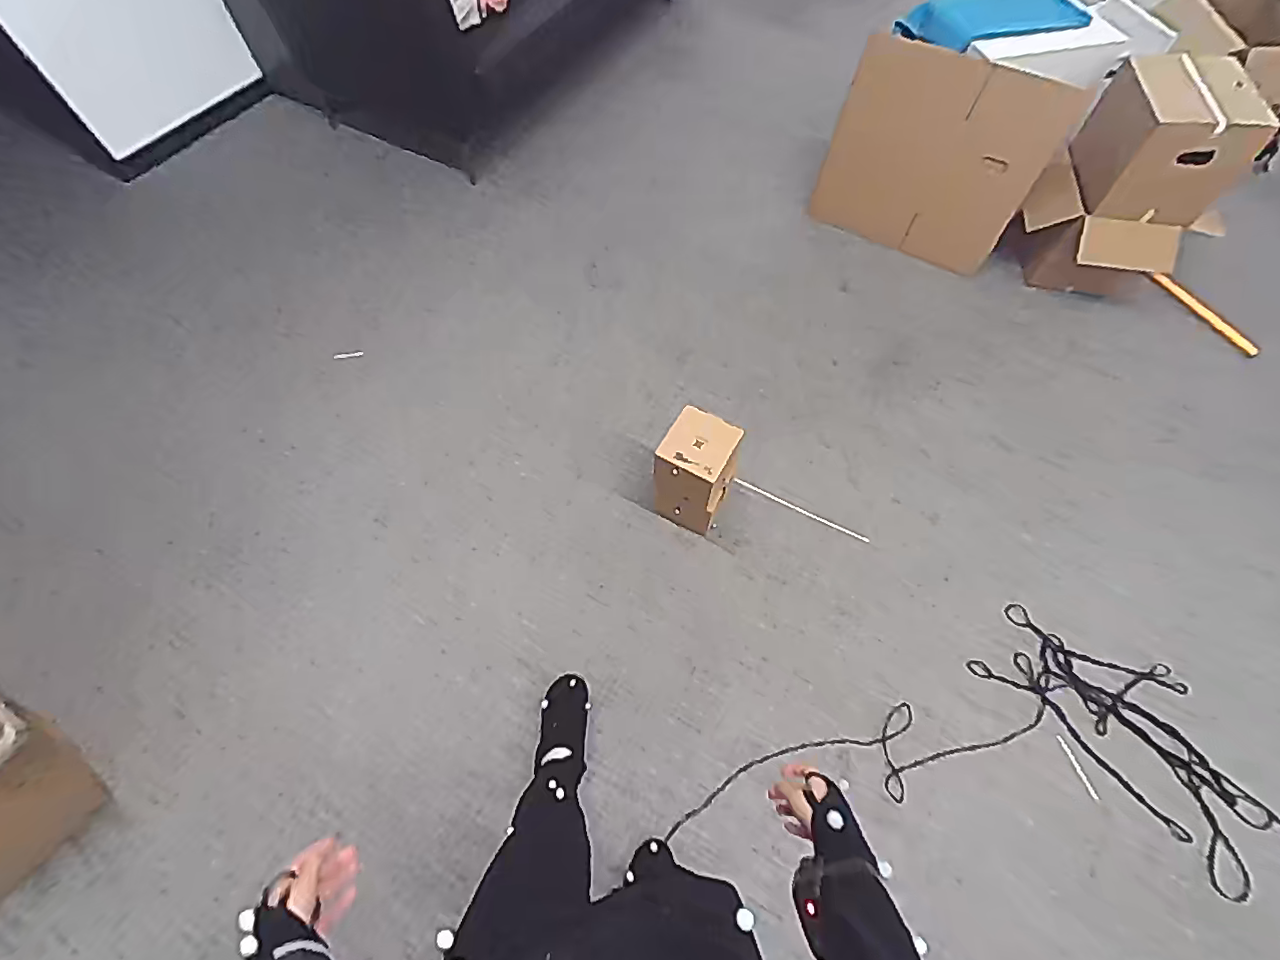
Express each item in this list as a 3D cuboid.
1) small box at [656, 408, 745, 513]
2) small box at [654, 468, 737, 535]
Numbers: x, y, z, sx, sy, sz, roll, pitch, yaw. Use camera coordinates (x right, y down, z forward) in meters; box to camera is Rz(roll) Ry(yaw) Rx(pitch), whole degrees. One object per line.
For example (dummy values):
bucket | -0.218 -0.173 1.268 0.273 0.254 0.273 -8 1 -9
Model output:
small box | 0.148 -0.047 1.396 0.168 0.176 0.179 27 64 15
small box | 0.154 0.035 1.538 0.179 0.176 0.168 26 64 14
